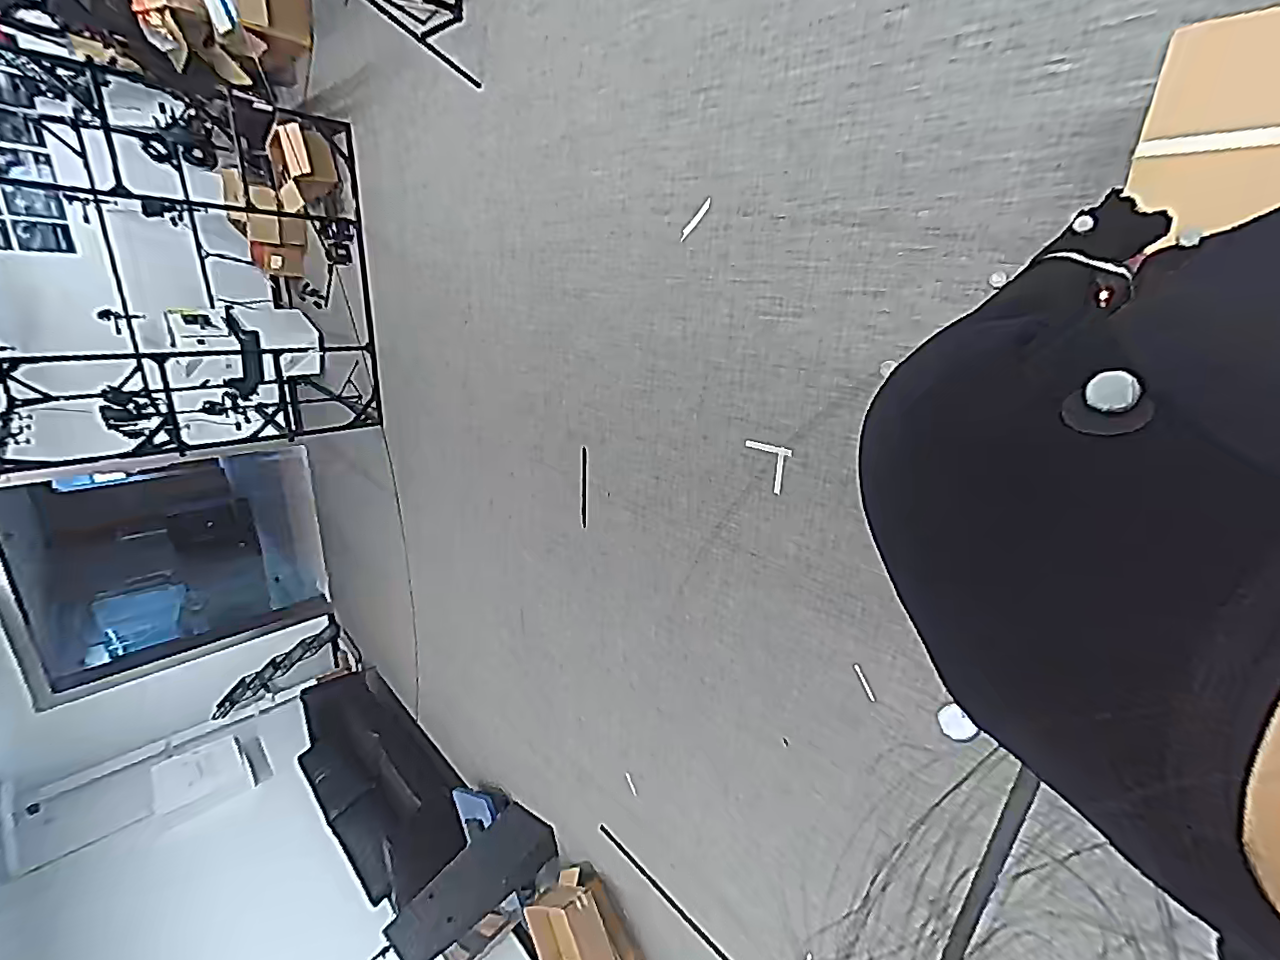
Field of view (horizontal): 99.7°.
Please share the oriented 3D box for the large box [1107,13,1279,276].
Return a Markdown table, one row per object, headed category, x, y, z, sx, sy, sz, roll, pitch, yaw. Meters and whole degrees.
| category | x | y | z | sx | sy | sz | roll | pitch | yaw |
| --- | --- | --- | --- | --- | --- | --- | --- | --- | --- |
| large box | 1.018 | -0.484 | 0.815 | 0.408 | 0.320 | 0.320 | 21 | 116 | 41 |
